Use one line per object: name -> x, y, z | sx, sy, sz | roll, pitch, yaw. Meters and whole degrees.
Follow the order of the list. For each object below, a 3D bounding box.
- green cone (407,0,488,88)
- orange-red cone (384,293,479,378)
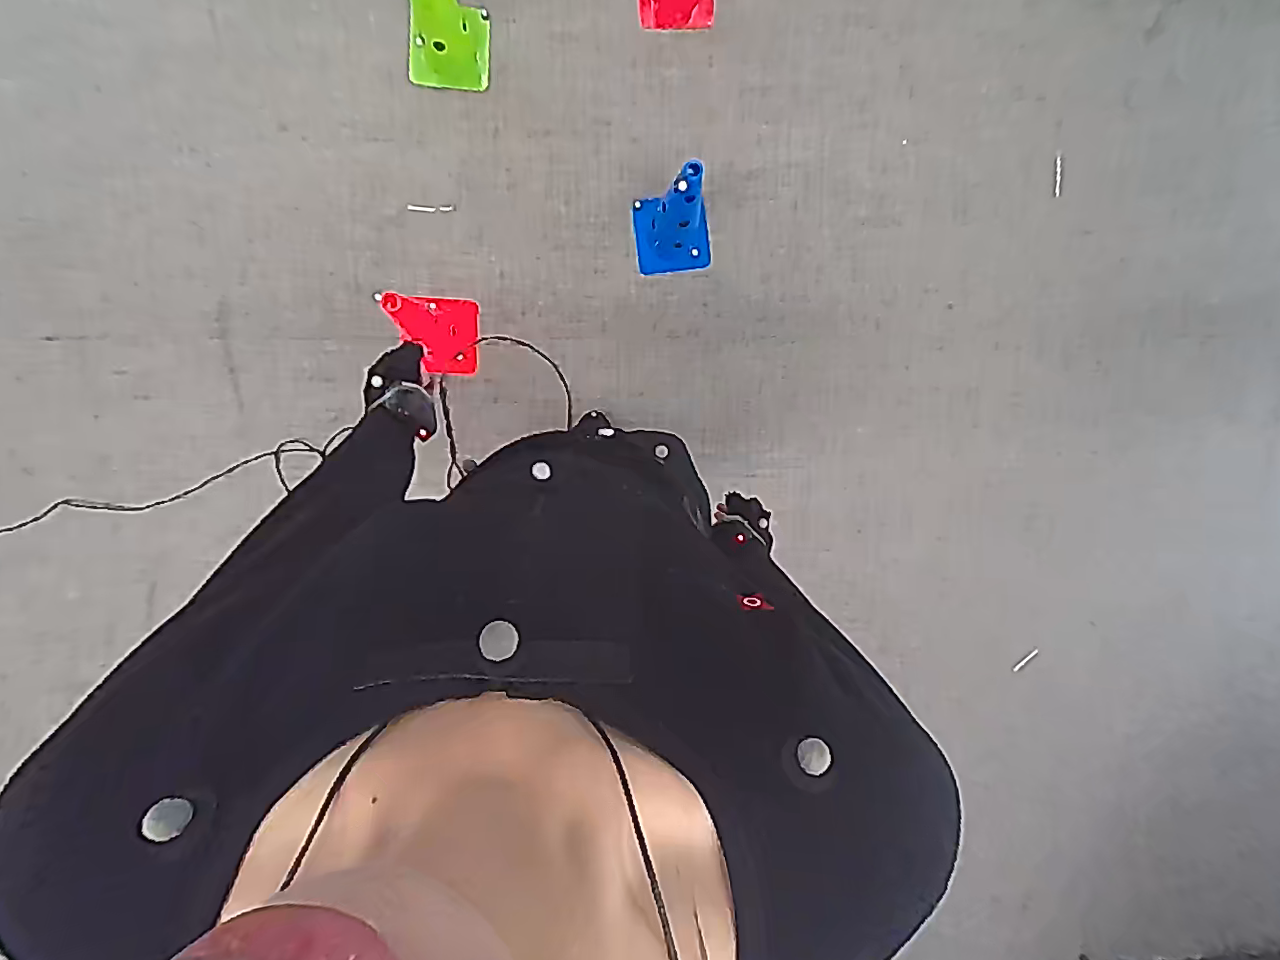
green cone -> -0.480, -1.099, 1.211 | 0.200, 0.368, 0.202 | 1, 95, -4
orange-red cone -> -0.514, -0.369, 1.259 | 0.198, 0.360, 0.199 | 4, 92, -6
